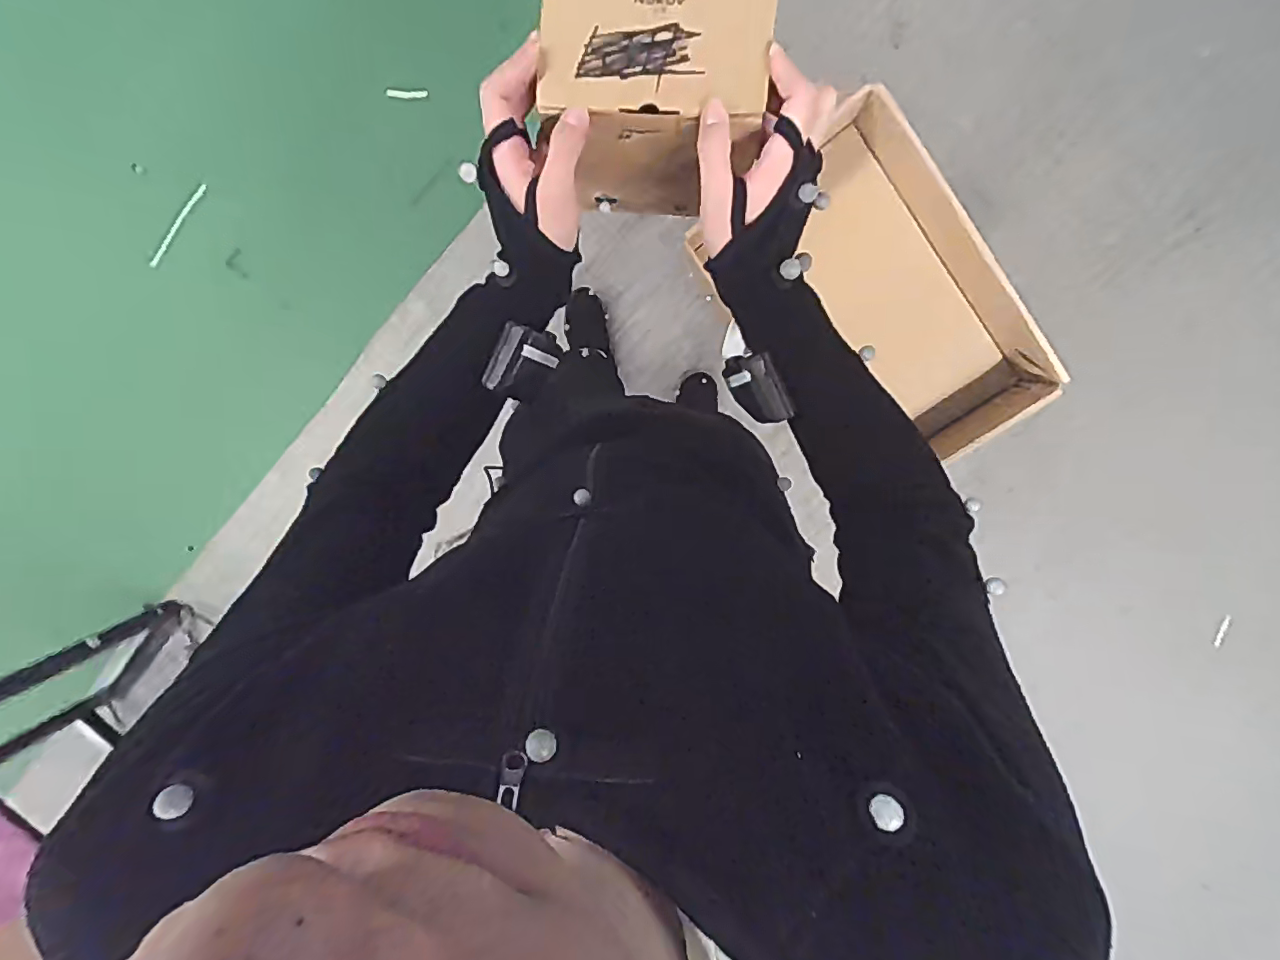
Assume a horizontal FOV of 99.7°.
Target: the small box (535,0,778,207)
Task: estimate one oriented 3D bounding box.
[{"bbox_3d":[0.020,-0.349,0.446,0.168,0.176,0.179,5,94,3],"label":"small box"}]
